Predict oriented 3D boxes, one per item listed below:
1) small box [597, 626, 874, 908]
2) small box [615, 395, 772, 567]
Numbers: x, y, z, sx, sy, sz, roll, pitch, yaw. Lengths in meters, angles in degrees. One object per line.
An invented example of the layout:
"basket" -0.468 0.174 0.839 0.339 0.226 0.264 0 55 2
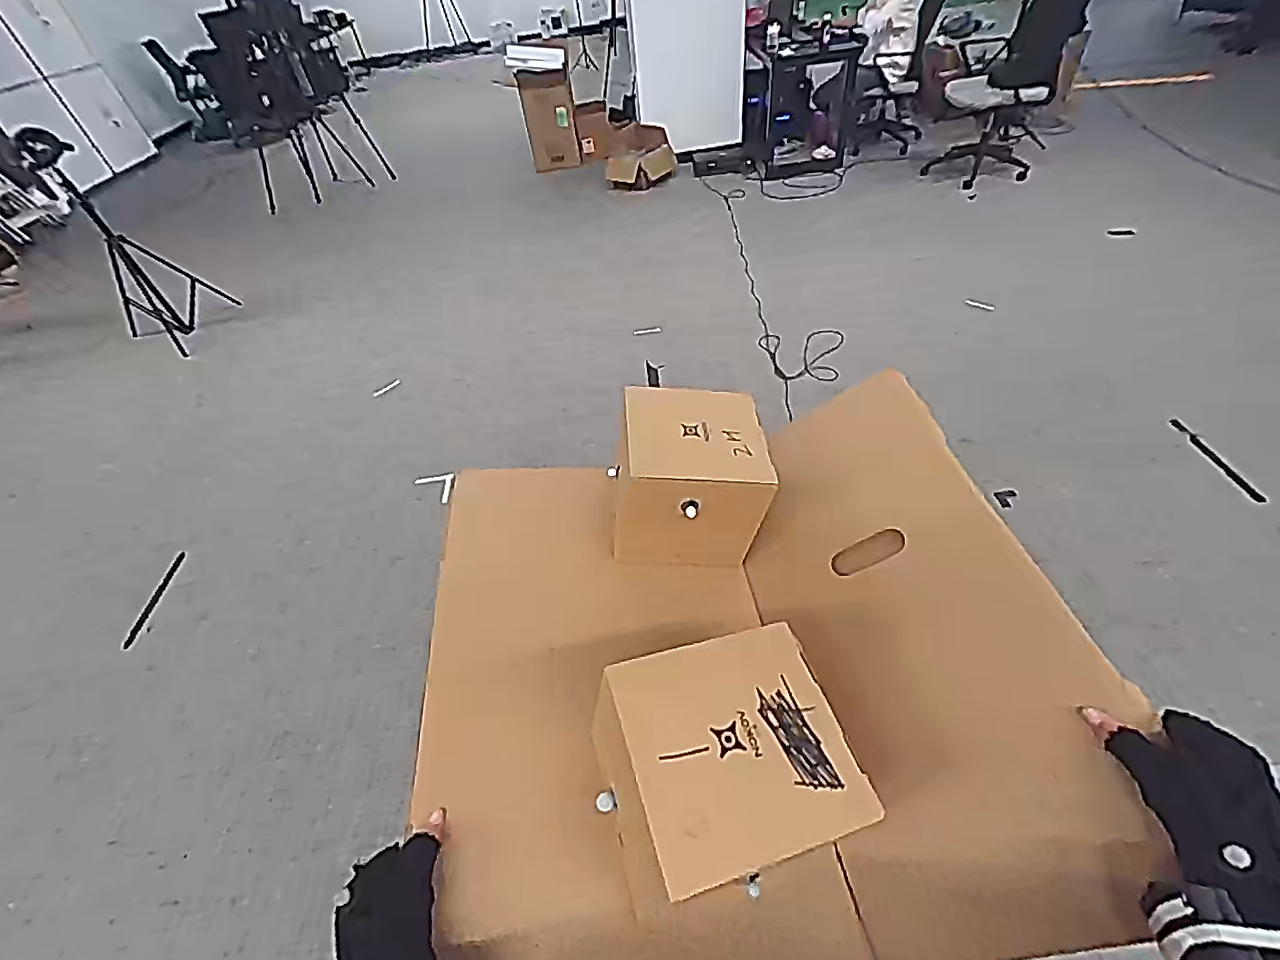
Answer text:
"small box" 0.067 0.261 0.496 0.179 0.176 0.168 -9 50 -17
"small box" 0.058 0.005 0.735 0.179 0.176 0.168 3 47 -8
